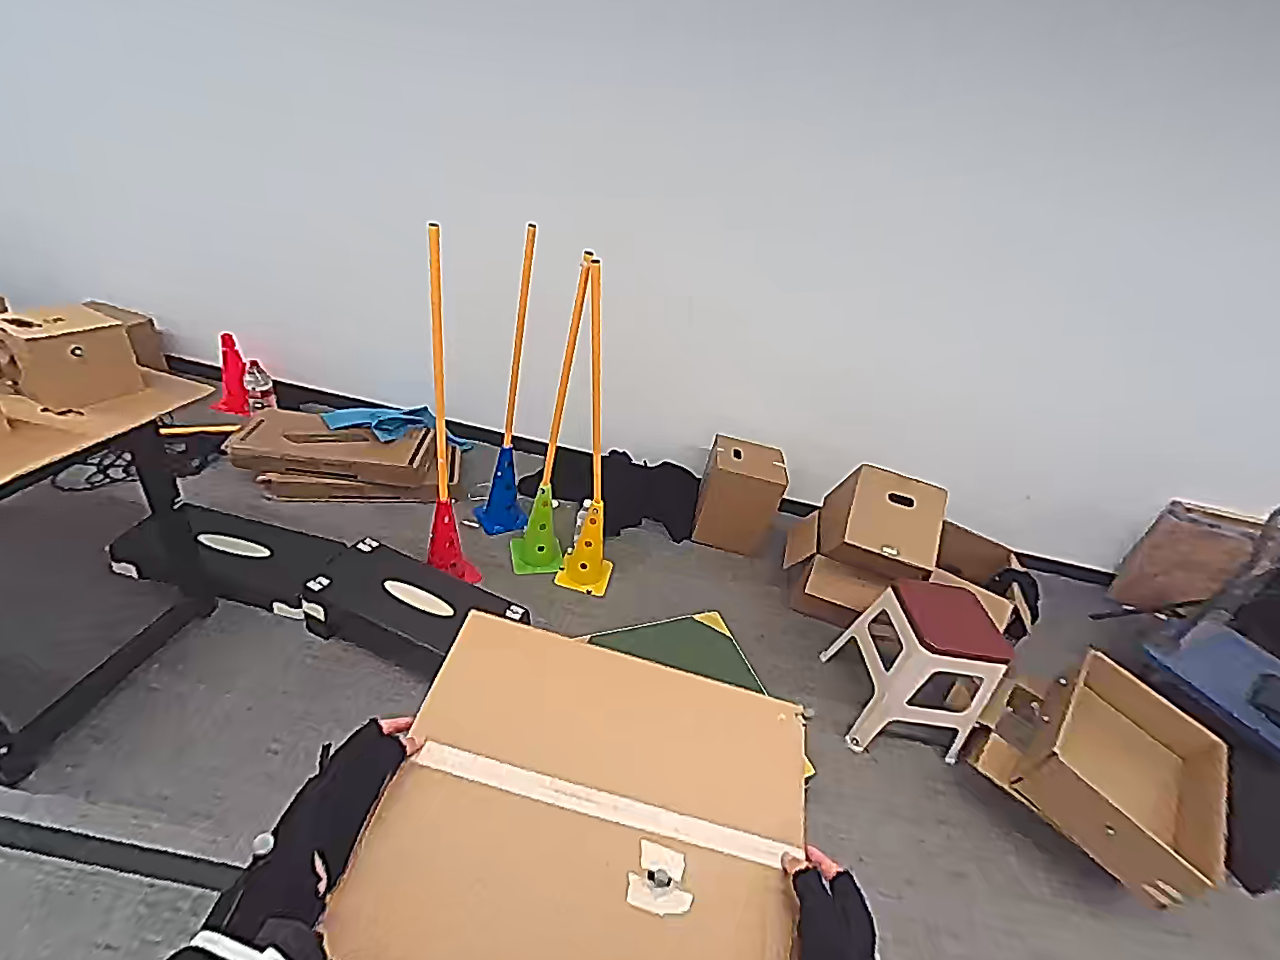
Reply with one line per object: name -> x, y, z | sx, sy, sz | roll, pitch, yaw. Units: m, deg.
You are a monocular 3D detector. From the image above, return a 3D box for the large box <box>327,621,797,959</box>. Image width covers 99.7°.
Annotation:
large box -> -0.064, 0.423, 0.644 | 0.408, 0.320, 0.320 | 16, 46, 1
